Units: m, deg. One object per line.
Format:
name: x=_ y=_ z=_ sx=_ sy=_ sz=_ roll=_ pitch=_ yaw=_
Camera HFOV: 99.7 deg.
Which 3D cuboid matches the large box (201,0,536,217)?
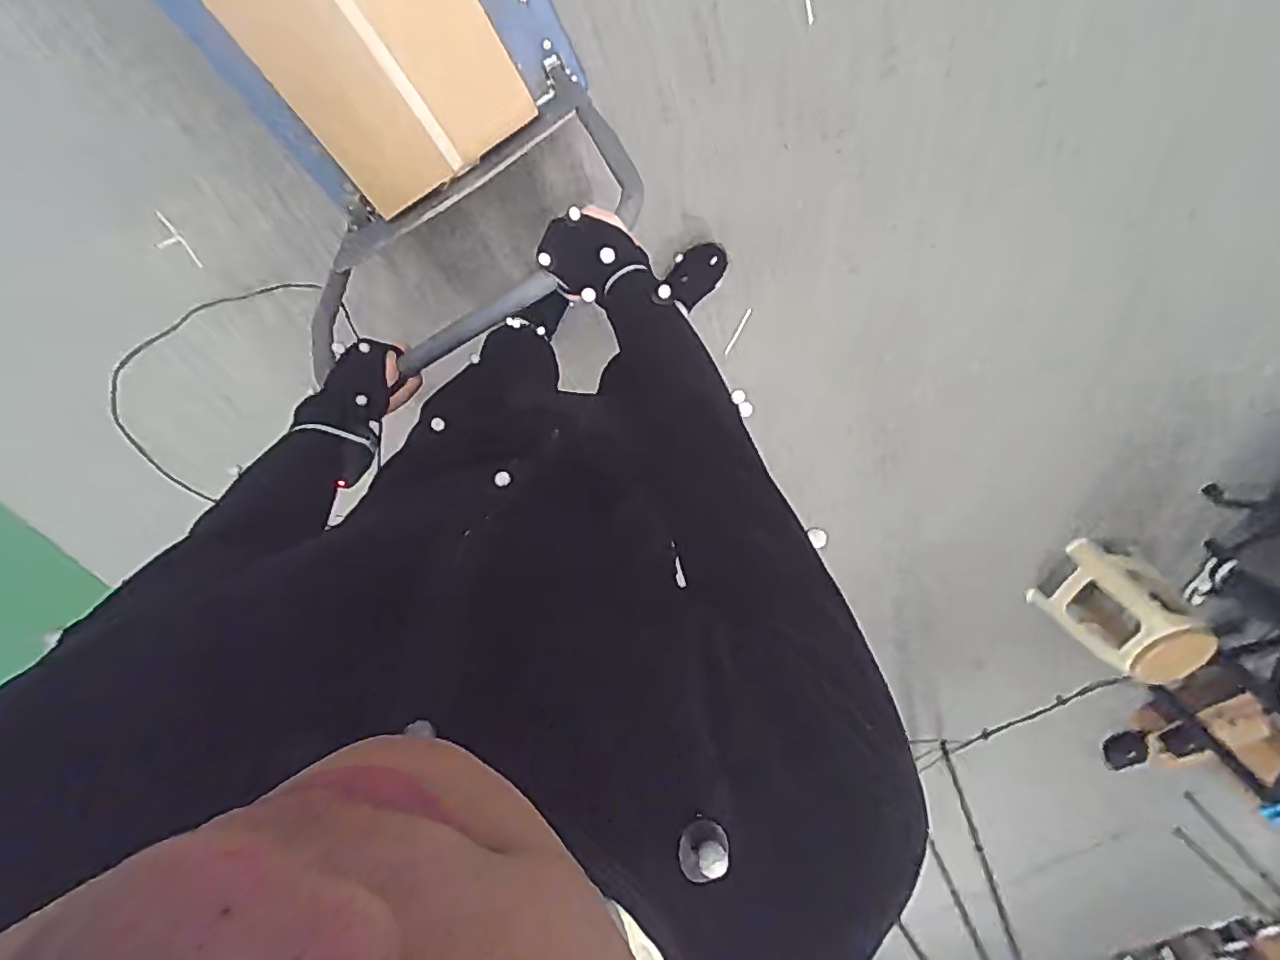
large box: x=-0.412 y=-0.723 z=0.863 sx=0.320 sy=0.320 sz=0.408 roll=-29 pitch=131 yaw=10
